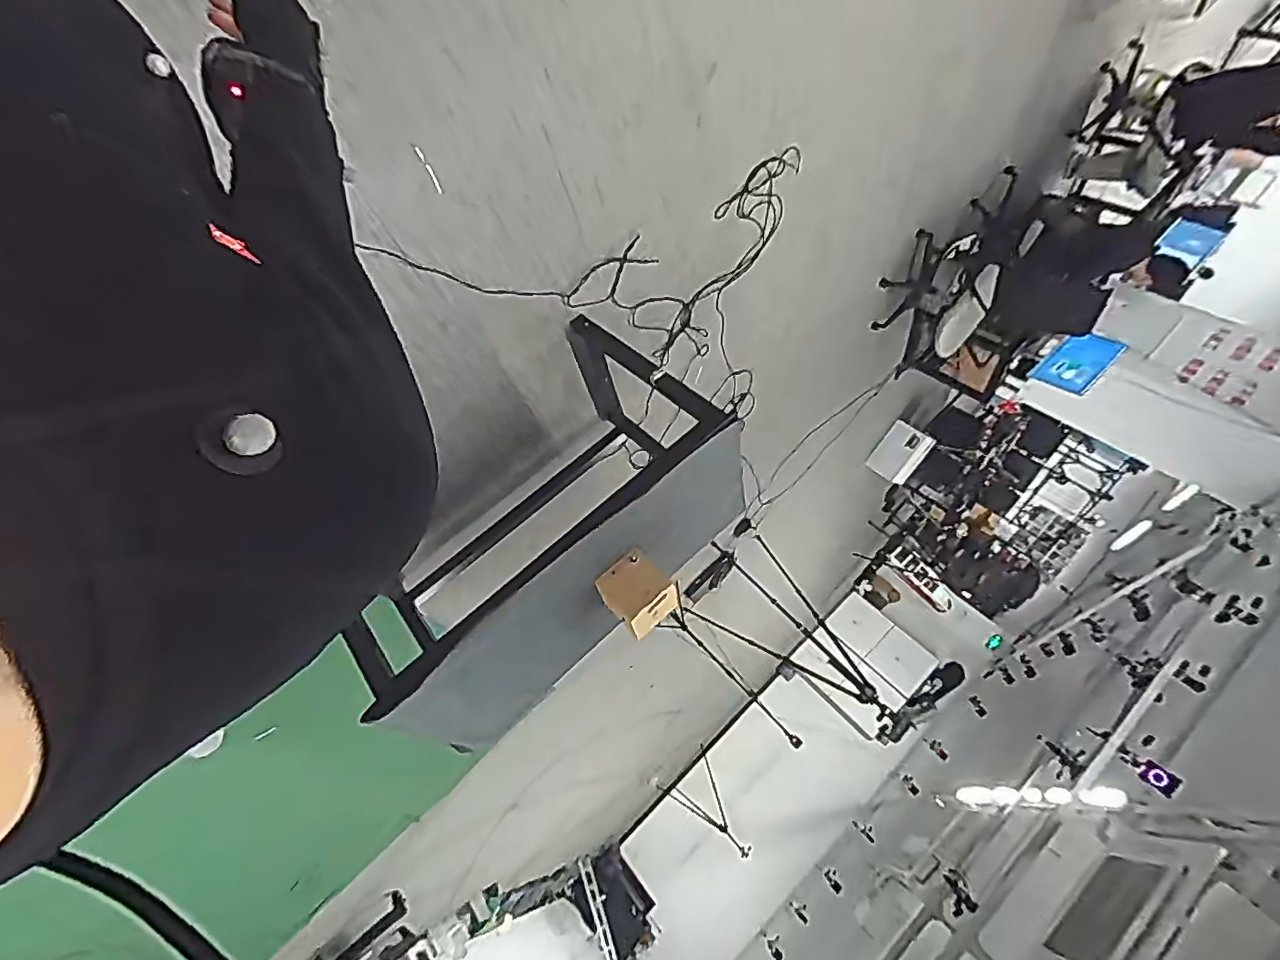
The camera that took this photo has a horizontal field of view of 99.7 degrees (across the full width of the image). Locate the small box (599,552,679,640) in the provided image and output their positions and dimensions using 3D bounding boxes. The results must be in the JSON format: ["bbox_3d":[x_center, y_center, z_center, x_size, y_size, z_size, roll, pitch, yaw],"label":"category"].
[{"bbox_3d":[-0.004,0.341,1.624,0.168,0.176,0.179,-38,148,-16],"label":"small box"}]
